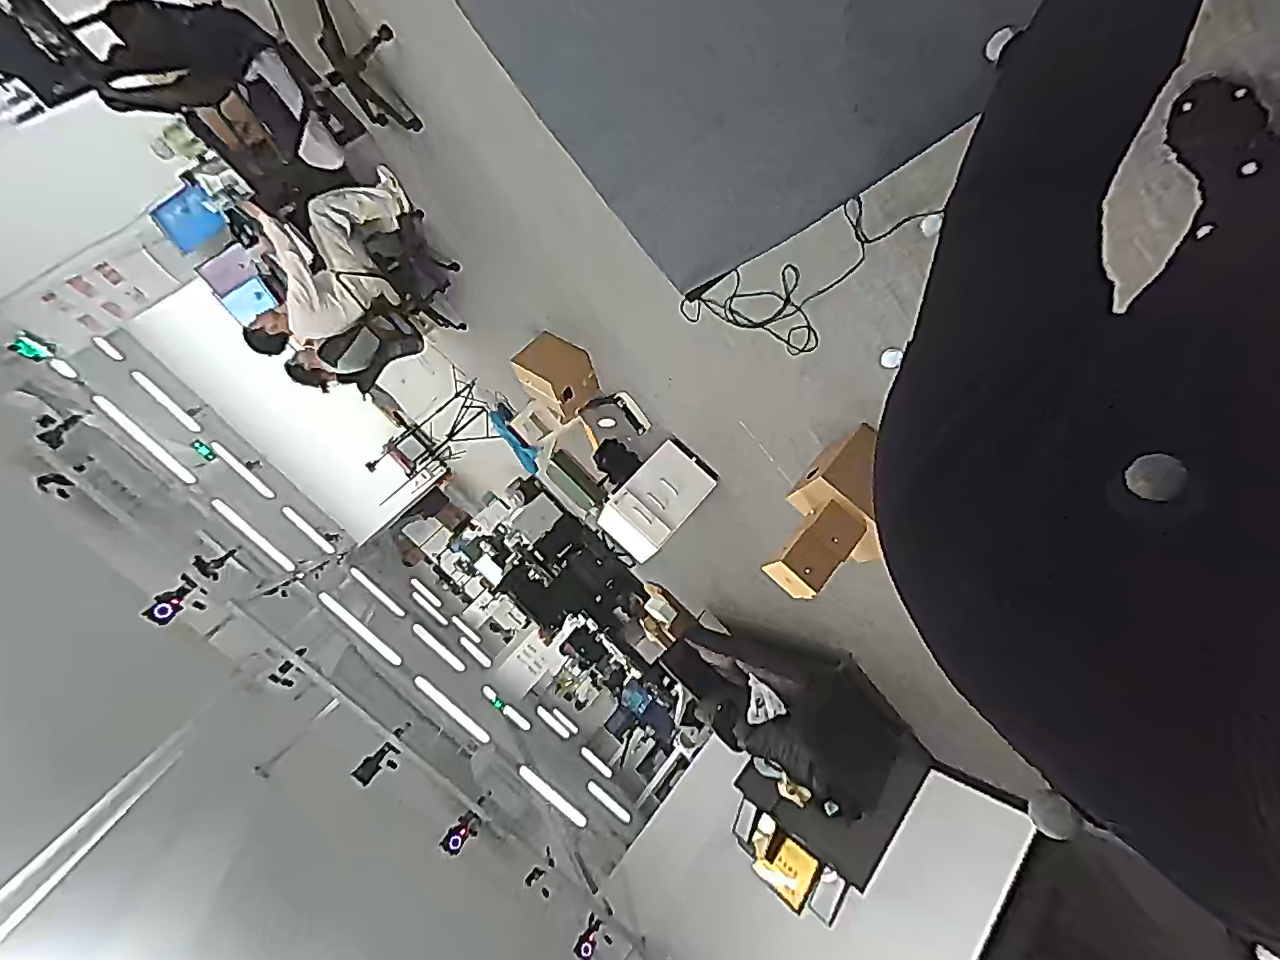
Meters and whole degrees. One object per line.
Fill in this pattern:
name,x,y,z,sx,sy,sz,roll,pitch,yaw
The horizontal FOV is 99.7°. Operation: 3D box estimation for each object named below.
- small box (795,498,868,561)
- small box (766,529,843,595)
small box,0.720,0.196,2.043,0.179,0.176,0.168,43,160,4
small box,0.605,0.298,1.989,0.179,0.176,0.168,42,159,3
